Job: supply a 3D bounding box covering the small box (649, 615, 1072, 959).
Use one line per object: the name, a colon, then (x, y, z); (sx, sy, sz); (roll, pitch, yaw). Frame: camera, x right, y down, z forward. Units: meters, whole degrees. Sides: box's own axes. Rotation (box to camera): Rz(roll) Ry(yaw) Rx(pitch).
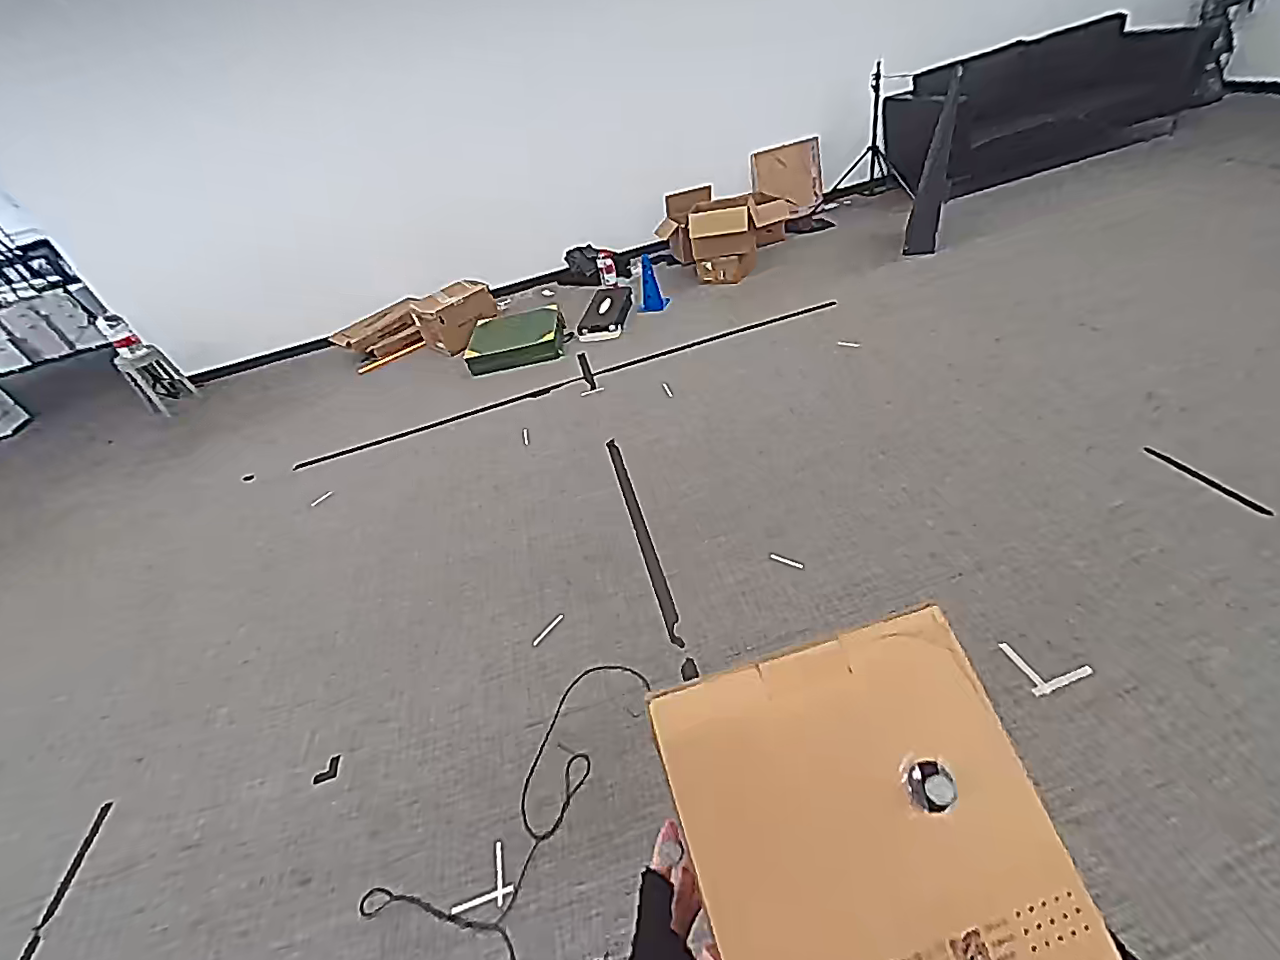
small box: (0.110, 0.203, 0.346); (0.168, 0.179, 0.176); (-17, 69, -4)
